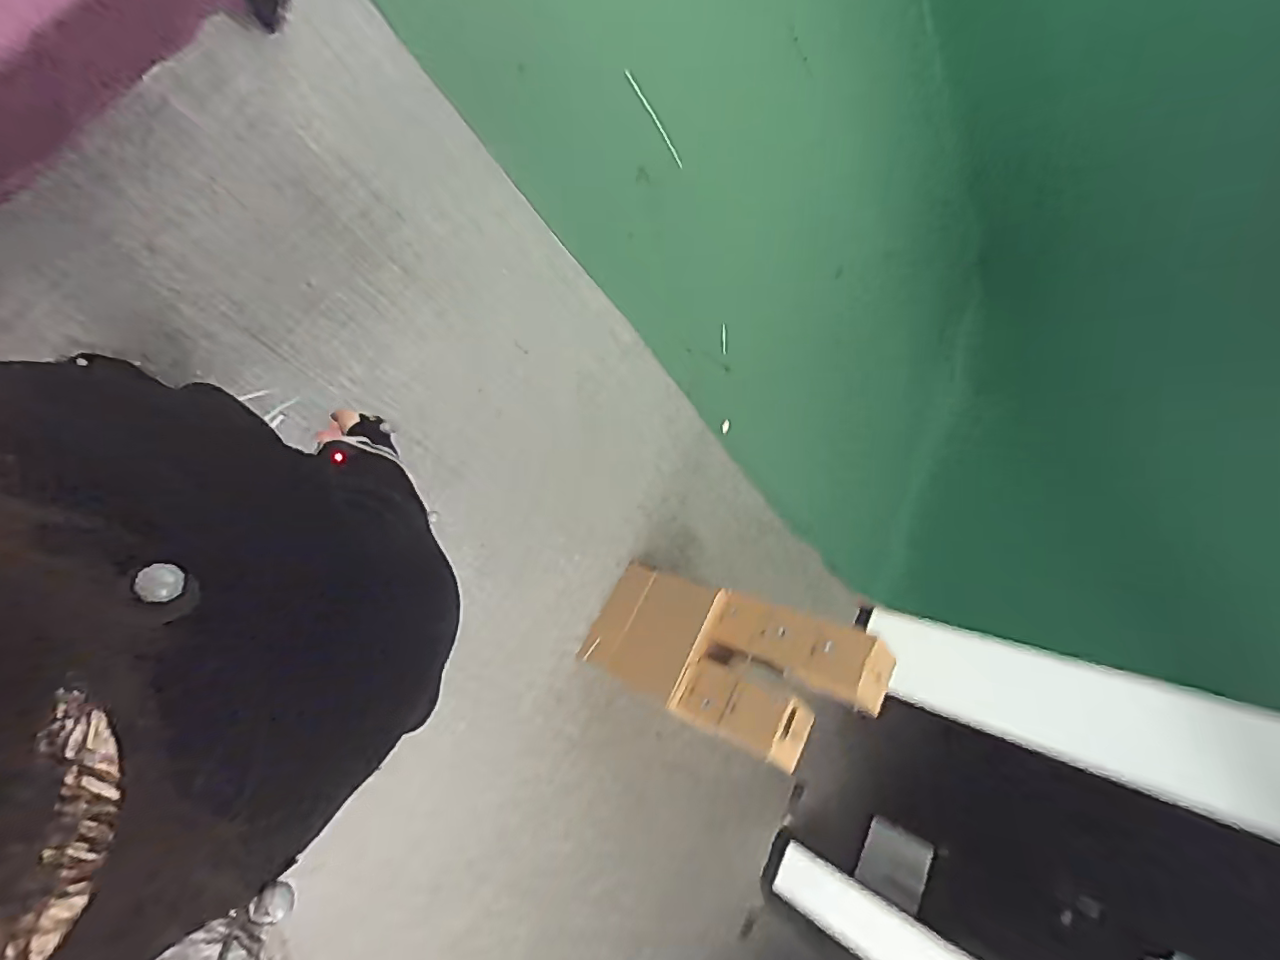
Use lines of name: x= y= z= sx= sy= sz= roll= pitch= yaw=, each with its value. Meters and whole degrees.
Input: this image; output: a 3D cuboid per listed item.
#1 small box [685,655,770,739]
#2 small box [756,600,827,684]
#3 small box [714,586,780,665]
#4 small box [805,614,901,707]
small box: x=0.269 y=0.664 z=1.674 sx=0.179 sy=0.176 sz=0.168 roll=48 pitch=64 yaw=-36
small box: x=0.477 y=0.476 z=1.616 sx=0.179 sy=0.176 sz=0.168 roll=45 pitch=68 yaw=-35
small box: x=0.373 y=0.462 z=1.742 sx=0.179 sy=0.176 sz=0.168 roll=43 pitch=69 yaw=-35
small box: x=0.588 y=0.492 z=1.494 sx=0.179 sy=0.176 sz=0.168 roll=45 pitch=67 yaw=-35
